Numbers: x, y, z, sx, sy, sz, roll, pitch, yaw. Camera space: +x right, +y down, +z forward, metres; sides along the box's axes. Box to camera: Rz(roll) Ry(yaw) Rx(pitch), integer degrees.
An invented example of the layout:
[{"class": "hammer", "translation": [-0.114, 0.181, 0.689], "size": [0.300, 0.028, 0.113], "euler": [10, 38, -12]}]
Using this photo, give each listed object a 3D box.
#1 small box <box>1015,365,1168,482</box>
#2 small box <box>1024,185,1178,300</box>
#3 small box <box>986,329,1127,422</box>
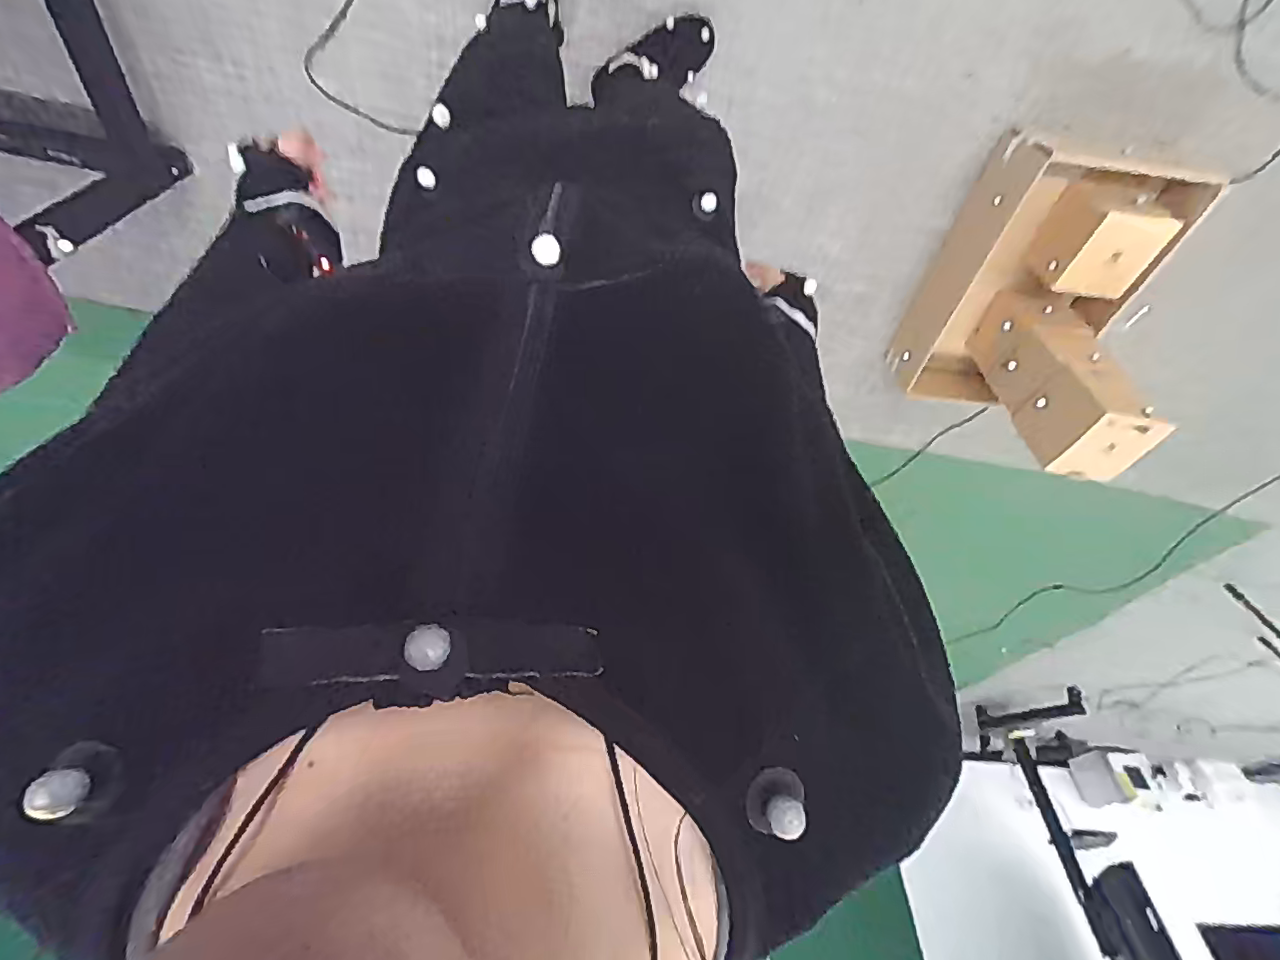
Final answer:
[{"class": "small box", "translation": [0.974, -0.123, 1.192], "size": [0.168, 0.176, 0.179], "euler": [9, 138, -9]}, {"class": "small box", "translation": [1.019, -0.537, 1.219], "size": [0.168, 0.176, 0.179], "euler": [6, 140, -4]}, {"class": "small box", "translation": [0.990, -0.245, 1.304], "size": [0.179, 0.176, 0.168], "euler": [7, 138, -5]}]
